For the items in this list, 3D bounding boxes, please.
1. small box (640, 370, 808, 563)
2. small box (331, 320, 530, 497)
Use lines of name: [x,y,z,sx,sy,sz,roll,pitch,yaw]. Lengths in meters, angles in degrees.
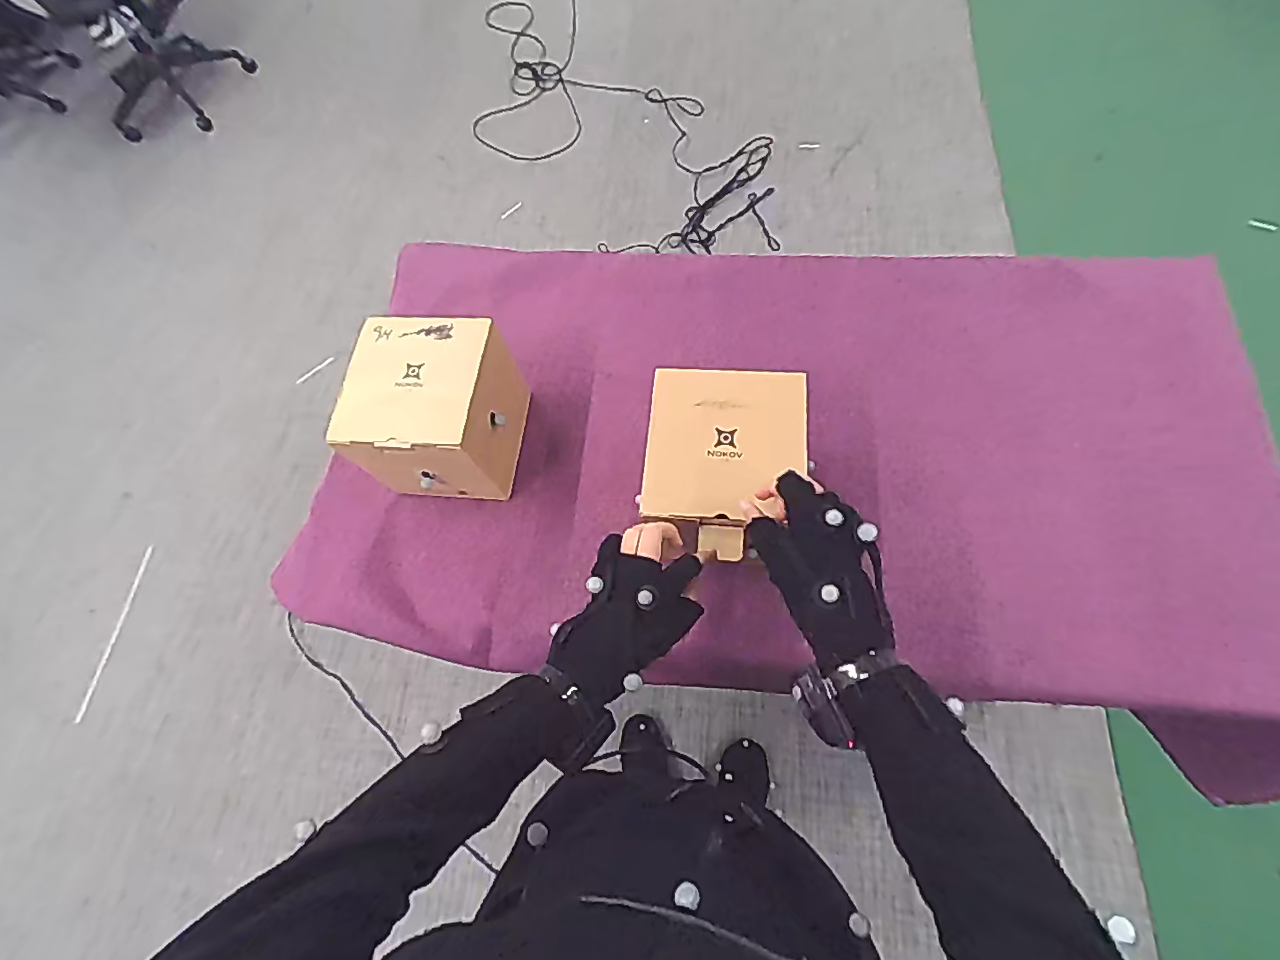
small box: [0.098,-0.008,0.634,0.168,0.176,0.179,4,68,8]
small box: [-0.255,-0.086,0.706,0.168,0.176,0.179,3,68,7]
